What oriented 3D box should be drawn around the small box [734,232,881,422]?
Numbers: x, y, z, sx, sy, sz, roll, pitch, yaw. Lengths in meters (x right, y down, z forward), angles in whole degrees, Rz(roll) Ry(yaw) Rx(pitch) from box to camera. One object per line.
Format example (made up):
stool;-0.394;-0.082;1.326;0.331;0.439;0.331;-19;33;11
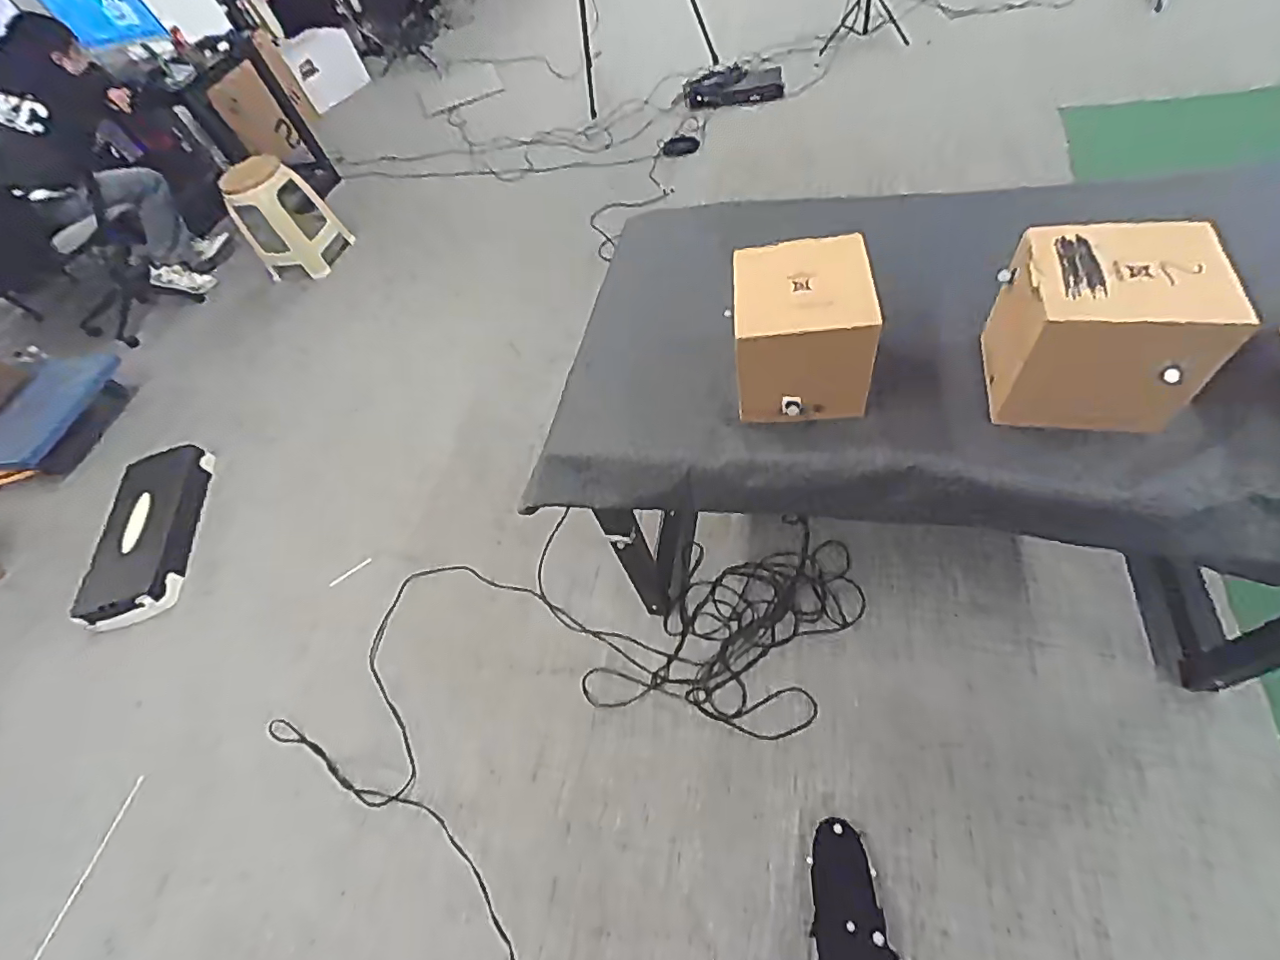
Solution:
small box;0.215;-0.200;0.732;0.168;0.176;0.179;-3;57;13
